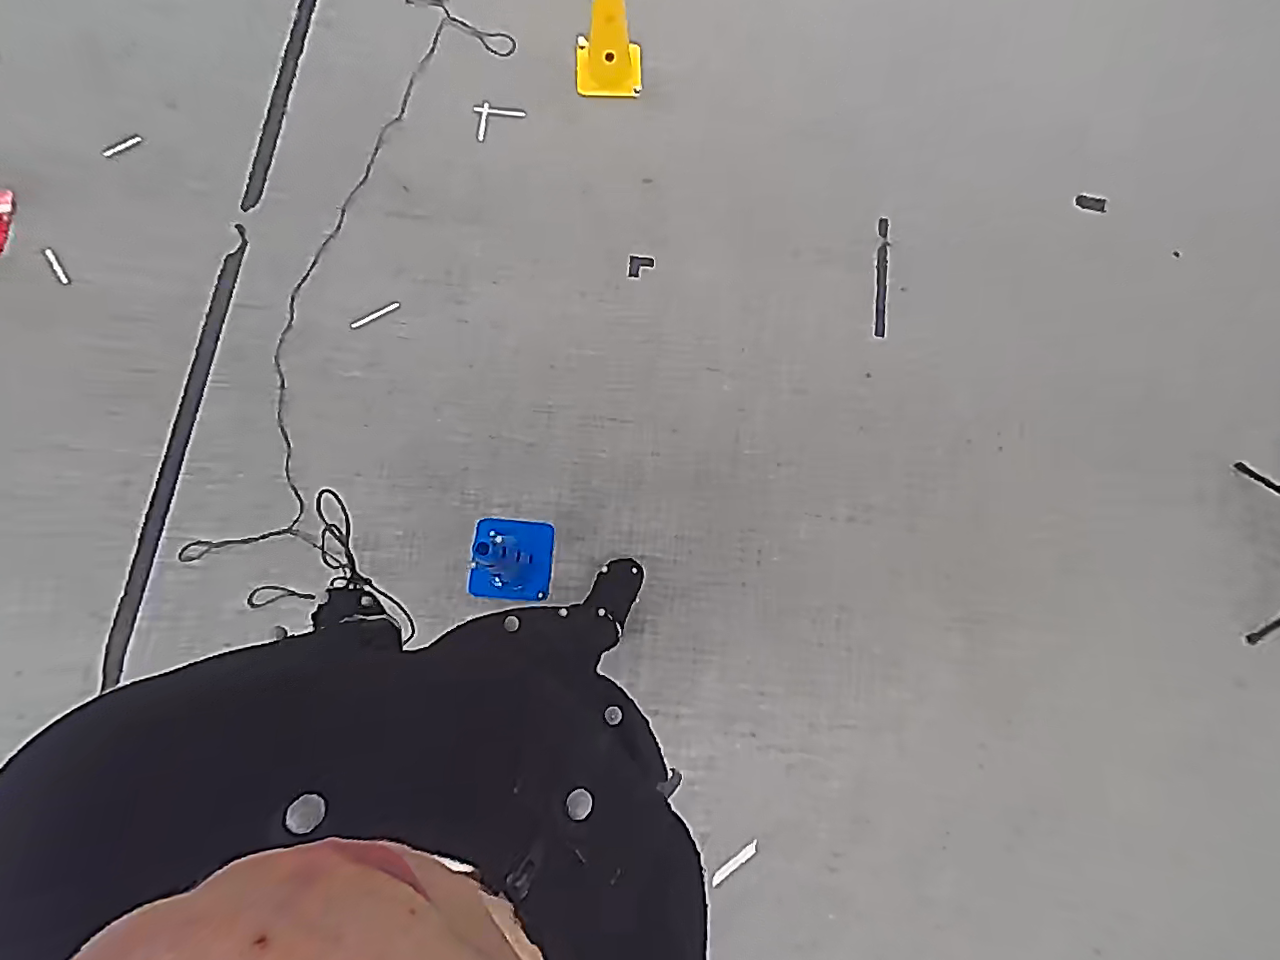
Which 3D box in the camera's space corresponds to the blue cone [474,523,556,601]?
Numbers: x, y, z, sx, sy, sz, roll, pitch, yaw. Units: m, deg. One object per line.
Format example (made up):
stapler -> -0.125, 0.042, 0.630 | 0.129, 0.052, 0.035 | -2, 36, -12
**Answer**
blue cone -> -0.300, 0.171, 1.196 | 0.192, 0.380, 0.193 | 7, 78, -3
